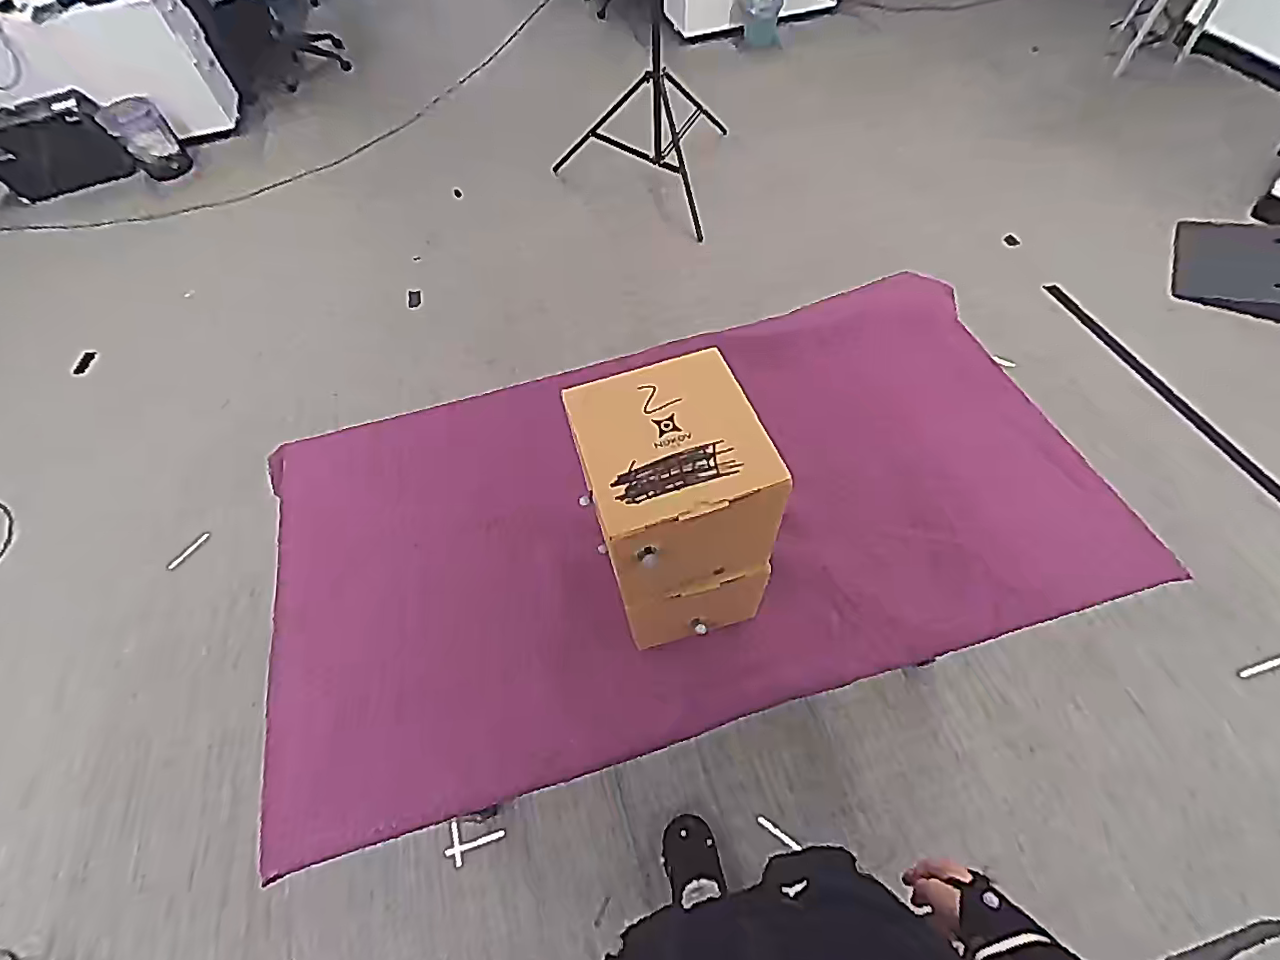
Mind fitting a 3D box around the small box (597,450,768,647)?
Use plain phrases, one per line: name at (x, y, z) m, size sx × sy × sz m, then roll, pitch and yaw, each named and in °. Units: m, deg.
small box at (0.048, 0.093, 0.702) m, size 0.168 × 0.176 × 0.179 m, roll -15°, pitch 58°, yaw -5°
